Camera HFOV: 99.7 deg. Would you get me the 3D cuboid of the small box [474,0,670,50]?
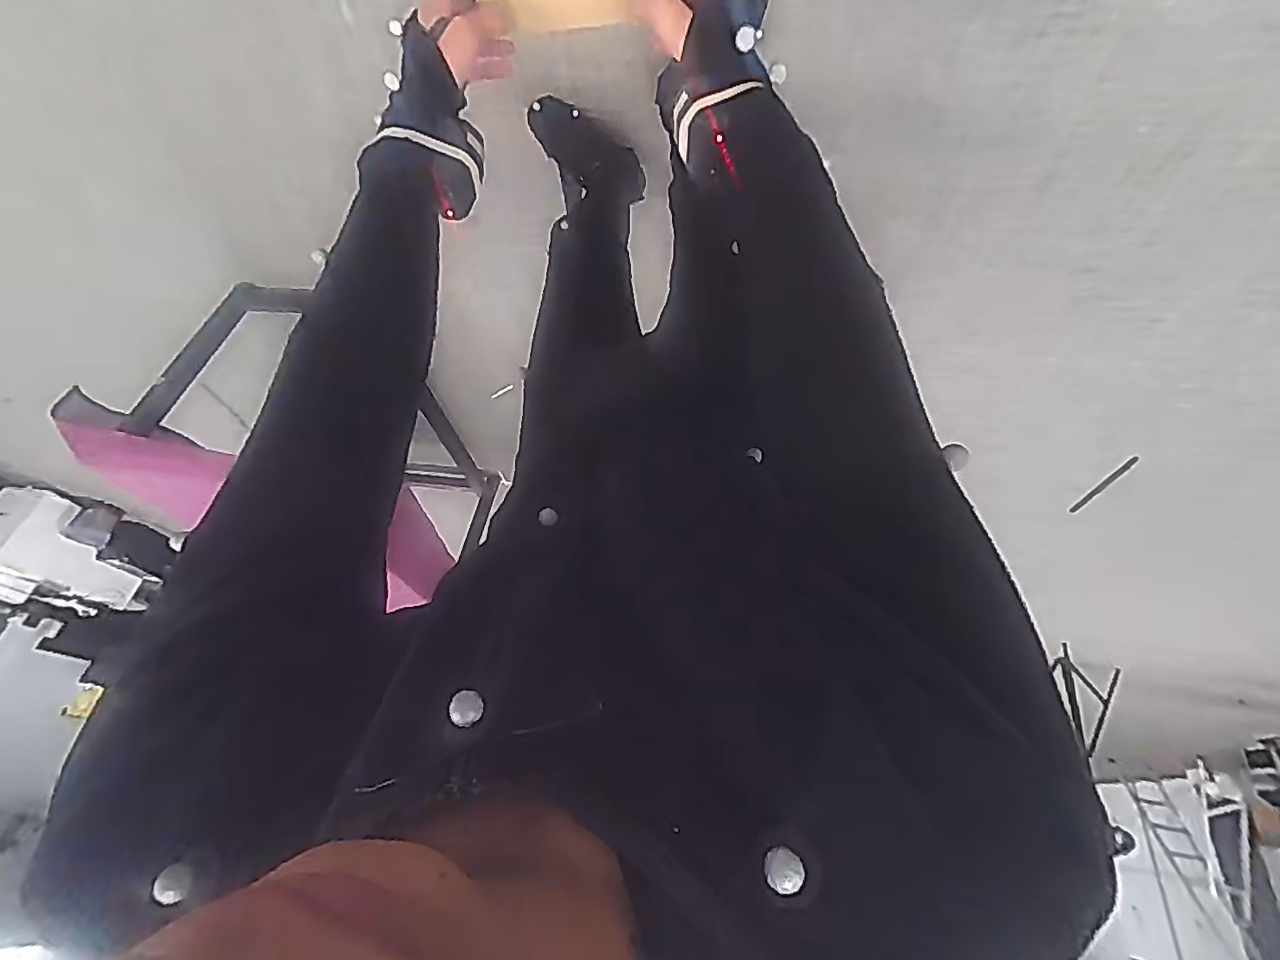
[{"bbox_3d":[-0.059,-0.523,0.486,0.179,0.176,0.168,4,146,10],"label":"small box"}]
